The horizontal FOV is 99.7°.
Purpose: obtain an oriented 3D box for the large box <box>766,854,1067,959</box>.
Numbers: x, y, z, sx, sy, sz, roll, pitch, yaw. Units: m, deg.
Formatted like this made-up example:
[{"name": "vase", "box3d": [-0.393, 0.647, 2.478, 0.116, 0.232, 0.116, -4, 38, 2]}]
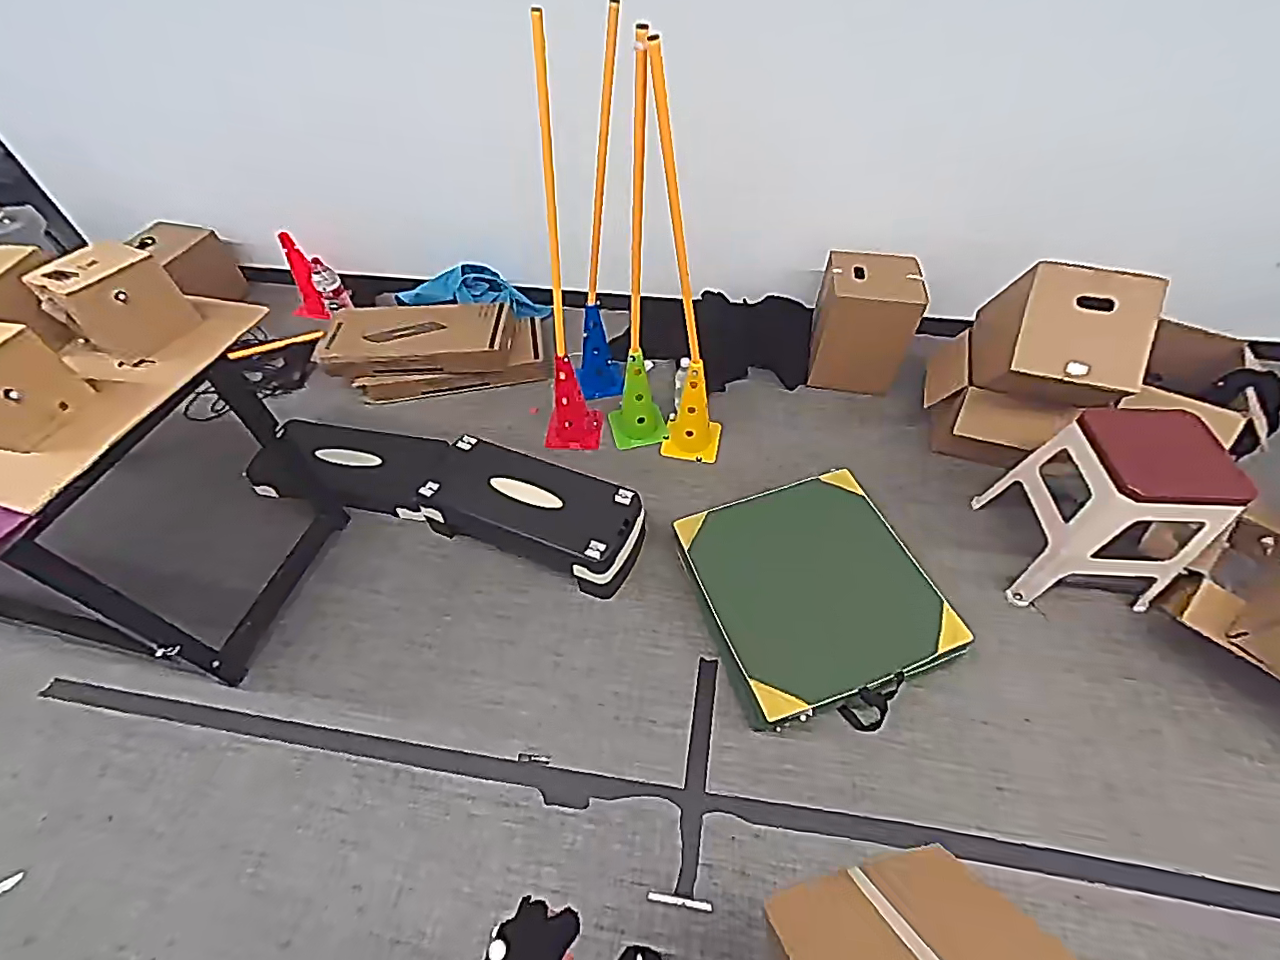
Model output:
[{"name": "large box", "box3d": [0.389, 0.752, 0.649, 0.320, 0.408, 0.320, -11, 84, -6]}]
